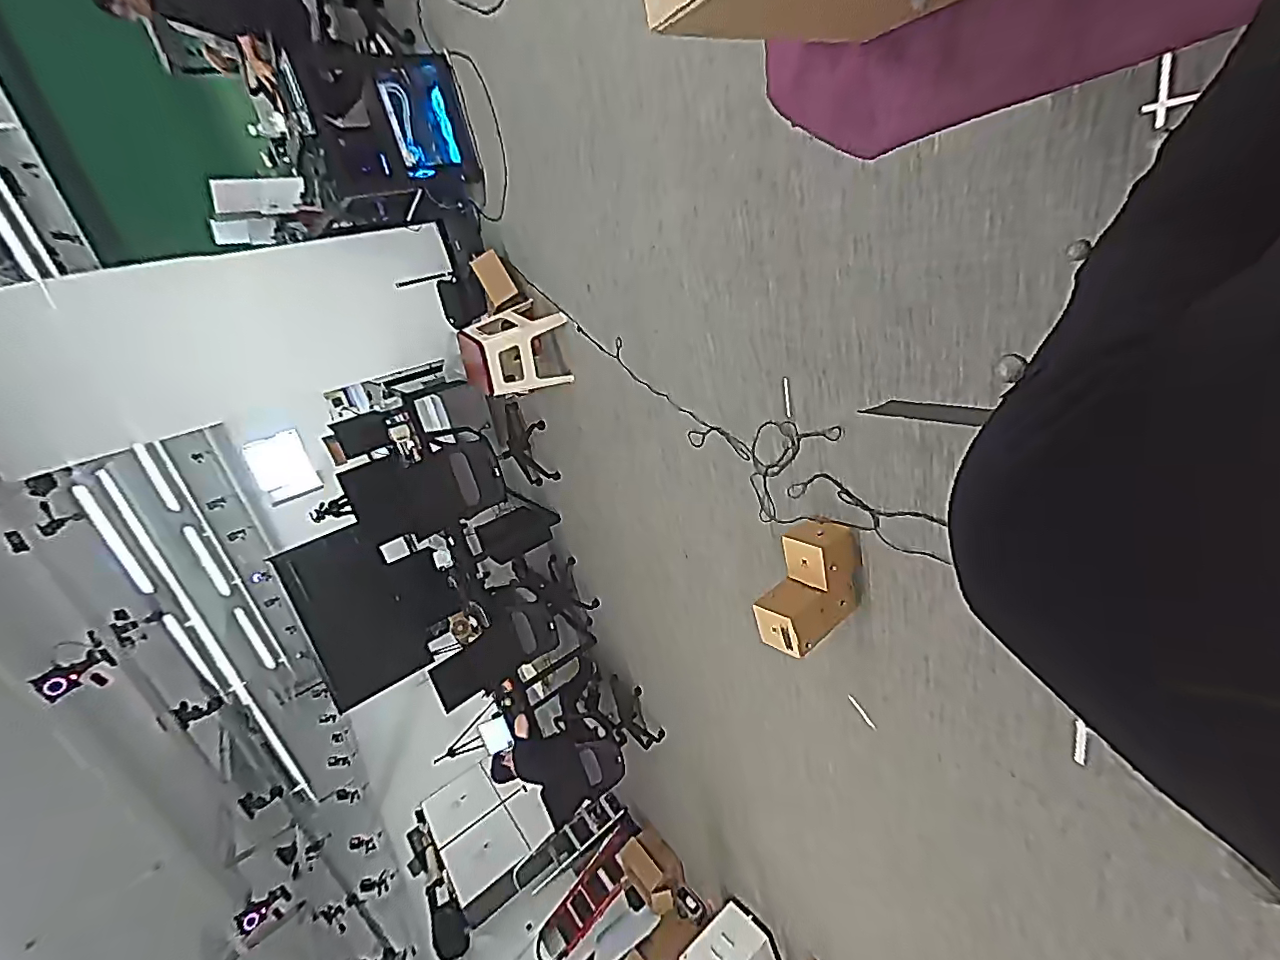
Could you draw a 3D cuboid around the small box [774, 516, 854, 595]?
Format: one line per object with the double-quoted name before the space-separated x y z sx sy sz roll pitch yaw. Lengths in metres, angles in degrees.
"small box" 0.588 0.258 1.836 0.179 0.176 0.168 34 127 26
